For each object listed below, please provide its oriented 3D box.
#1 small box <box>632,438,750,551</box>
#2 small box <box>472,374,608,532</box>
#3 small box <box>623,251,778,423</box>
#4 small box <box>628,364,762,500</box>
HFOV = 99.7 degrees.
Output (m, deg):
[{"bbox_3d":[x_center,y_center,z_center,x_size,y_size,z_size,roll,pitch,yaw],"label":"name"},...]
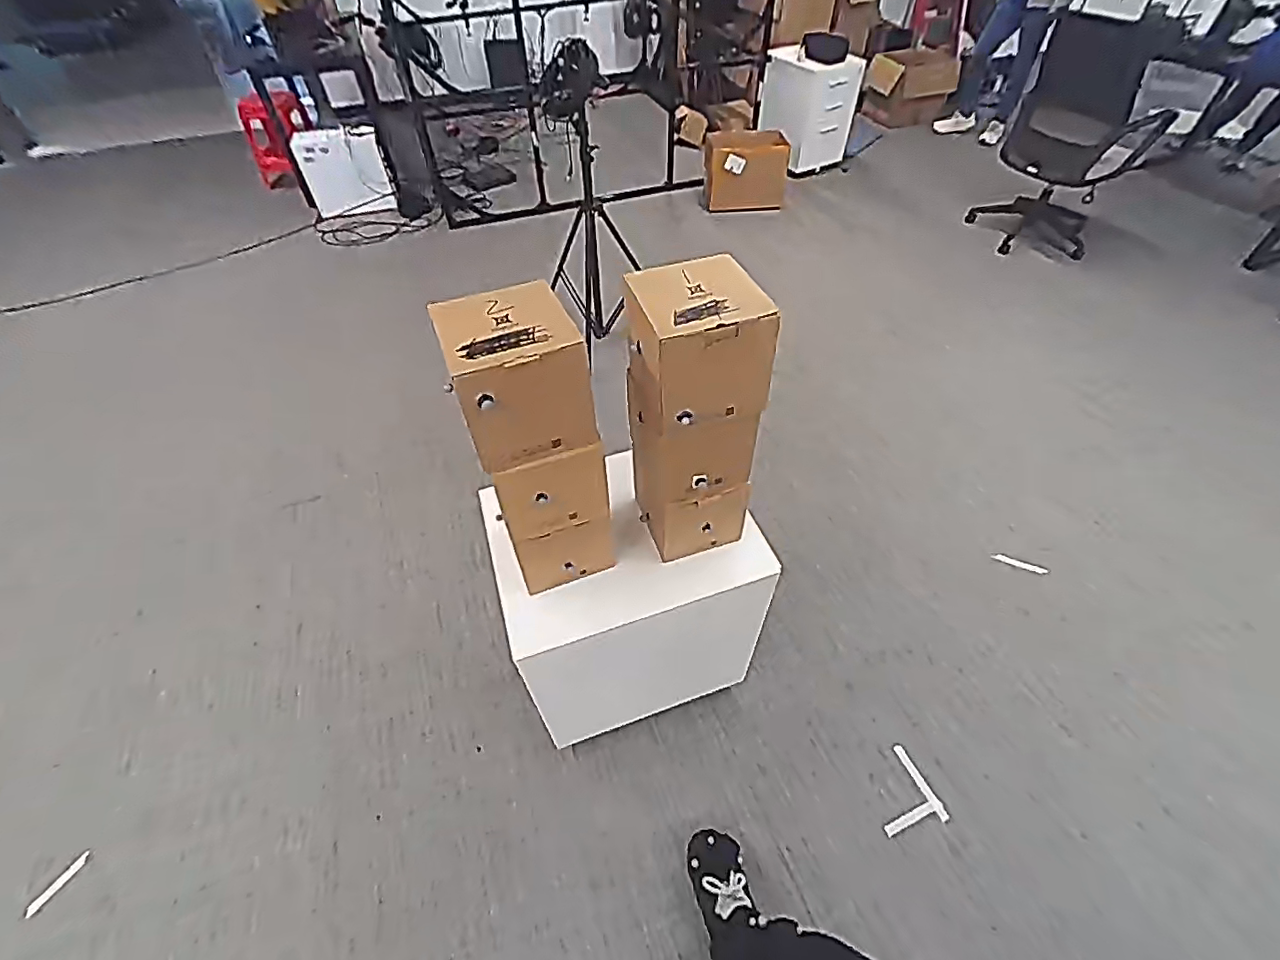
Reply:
[{"bbox_3d":[0.090,0.016,1.030,0.168,0.176,0.179,-15,52,-11],"label":"small box"},{"bbox_3d":[-0.155,-0.037,0.867,0.168,0.176,0.179,-16,51,-13],"label":"small box"},{"bbox_3d":[0.081,-0.201,0.785,0.168,0.176,0.179,-15,49,-9],"label":"small box"},{"bbox_3d":[0.084,-0.096,0.912,0.168,0.176,0.179,-16,52,-10],"label":"small box"}]
